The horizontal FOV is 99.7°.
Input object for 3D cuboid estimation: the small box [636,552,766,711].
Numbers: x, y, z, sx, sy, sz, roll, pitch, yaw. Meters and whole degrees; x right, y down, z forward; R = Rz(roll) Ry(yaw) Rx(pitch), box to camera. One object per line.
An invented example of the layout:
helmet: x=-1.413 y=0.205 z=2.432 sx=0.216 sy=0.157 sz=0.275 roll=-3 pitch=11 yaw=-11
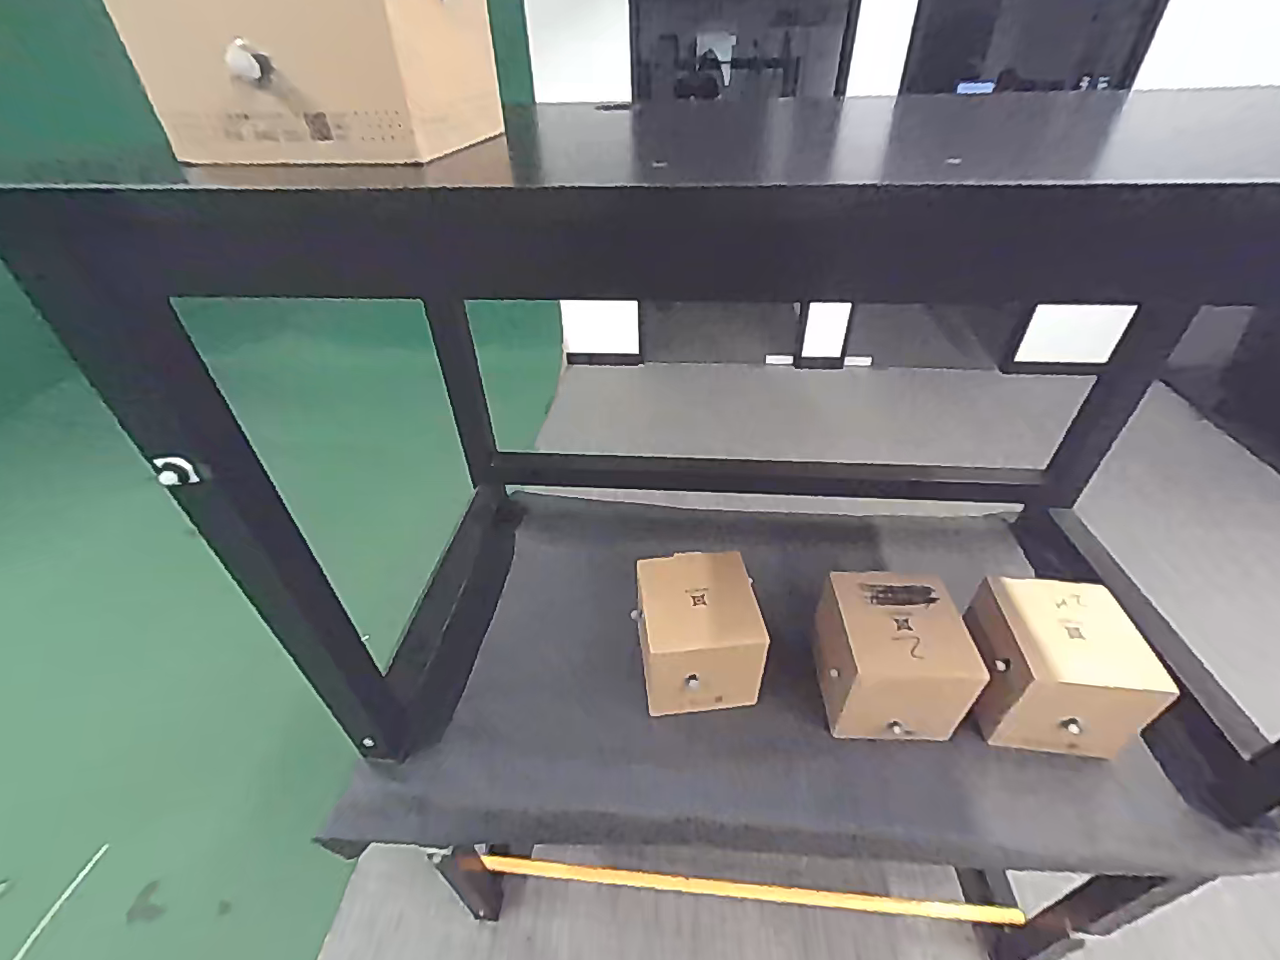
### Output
small box: x=0.086 y=0.238 z=0.839 sx=0.168 sy=0.176 sz=0.179 roll=-5 pitch=38 yaw=-4

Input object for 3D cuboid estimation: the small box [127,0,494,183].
small box: x=-0.210 y=-0.312 z=0.366 sx=0.168 sy=0.176 sz=0.179 roll=2 pitch=39 yaw=5
